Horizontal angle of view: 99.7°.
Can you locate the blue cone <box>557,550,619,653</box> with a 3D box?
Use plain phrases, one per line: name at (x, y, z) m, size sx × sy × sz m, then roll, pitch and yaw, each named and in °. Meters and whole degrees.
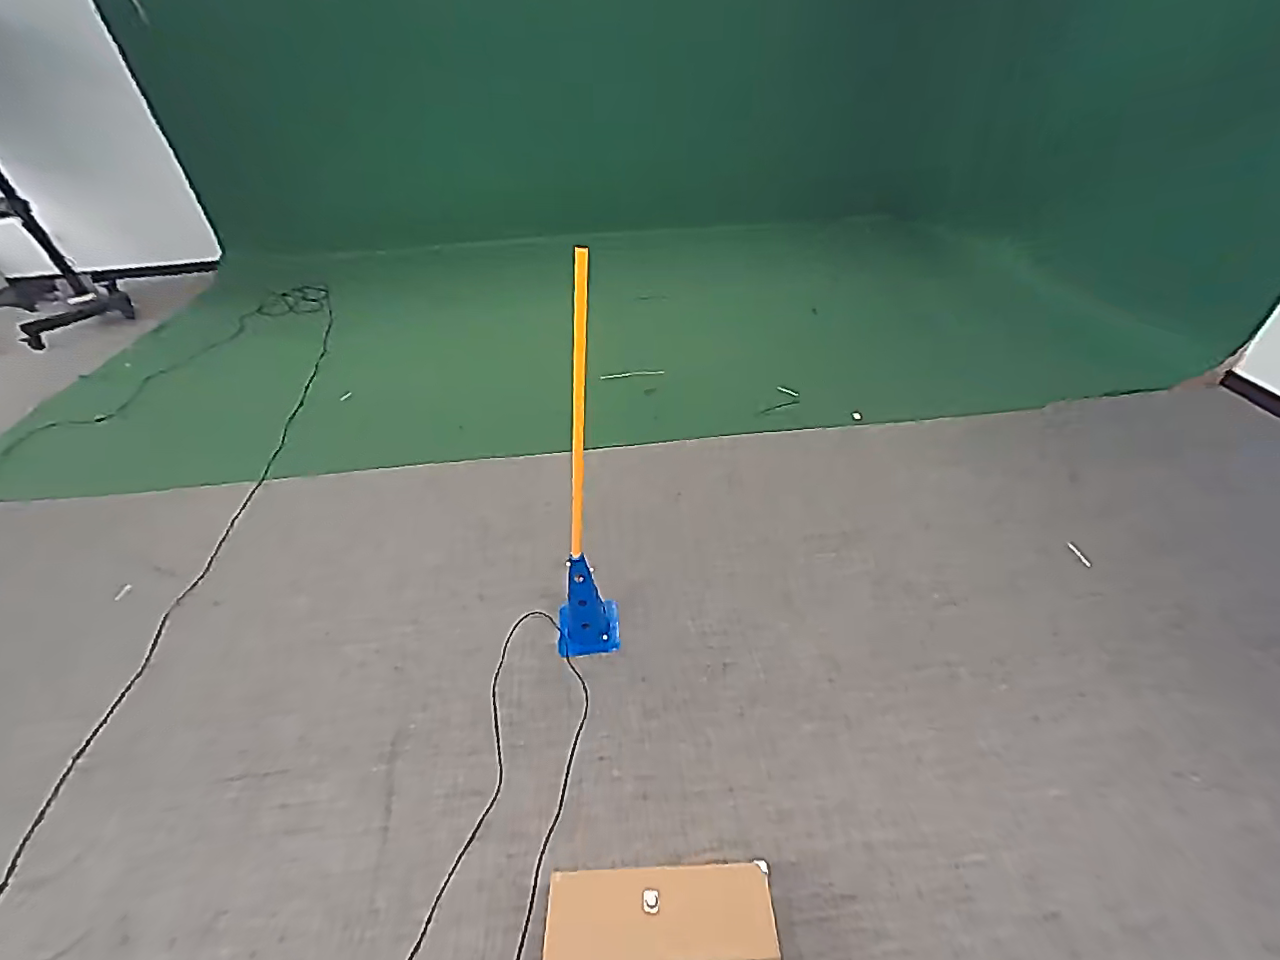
blue cone at (-0.174, 0.346, 1.652) m, size 0.193 × 0.380 × 0.192 m, roll -6°, pitch 41°, yaw -6°
